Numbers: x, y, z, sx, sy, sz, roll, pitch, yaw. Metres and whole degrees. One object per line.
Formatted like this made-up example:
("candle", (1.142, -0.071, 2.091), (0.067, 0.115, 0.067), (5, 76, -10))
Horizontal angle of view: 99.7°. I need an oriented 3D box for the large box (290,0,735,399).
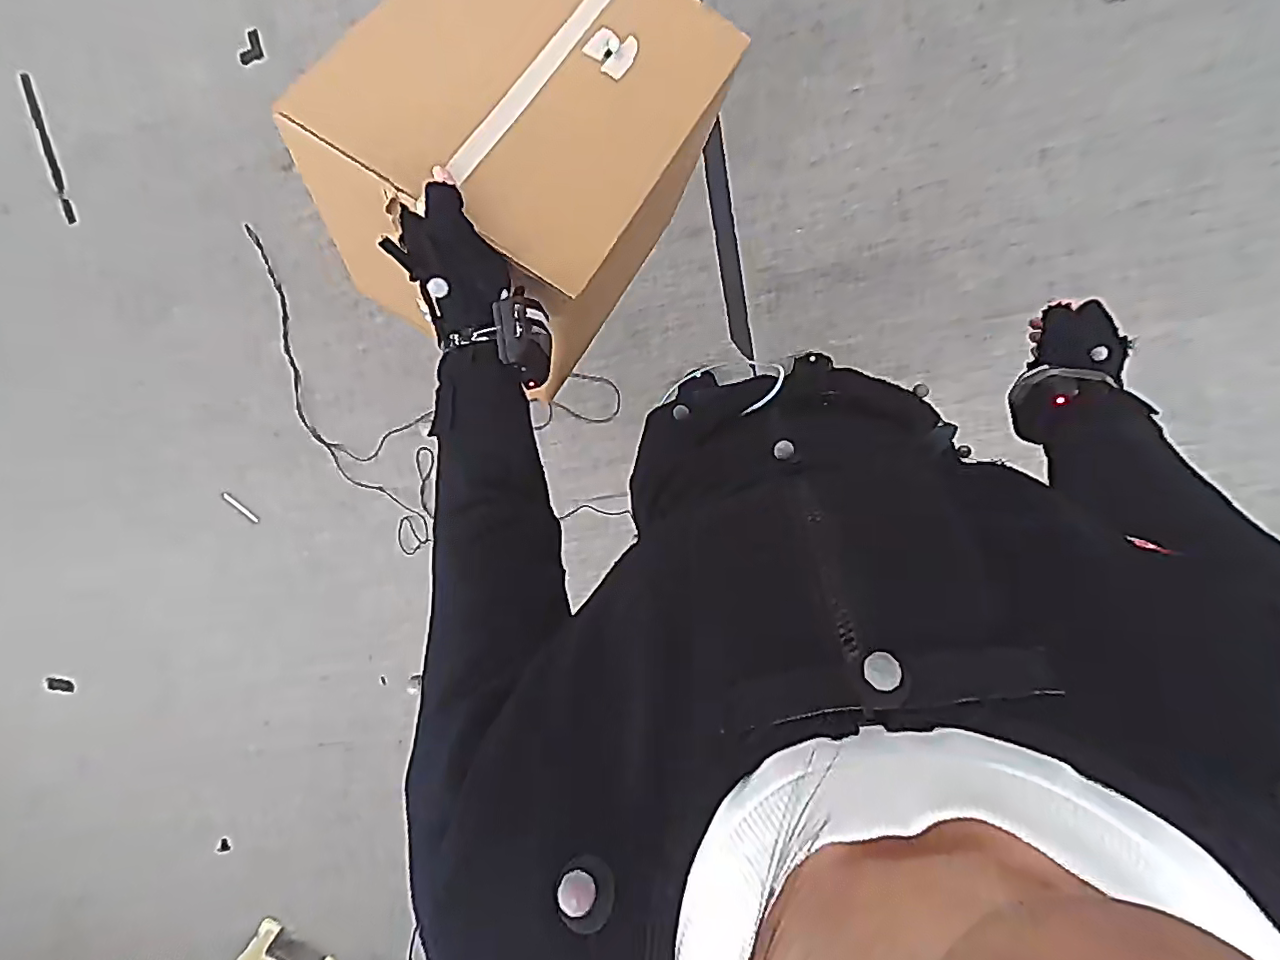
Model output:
("large box", (-0.140, -0.384, 0.703), (0.320, 0.320, 0.408), (31, 72, -7))
